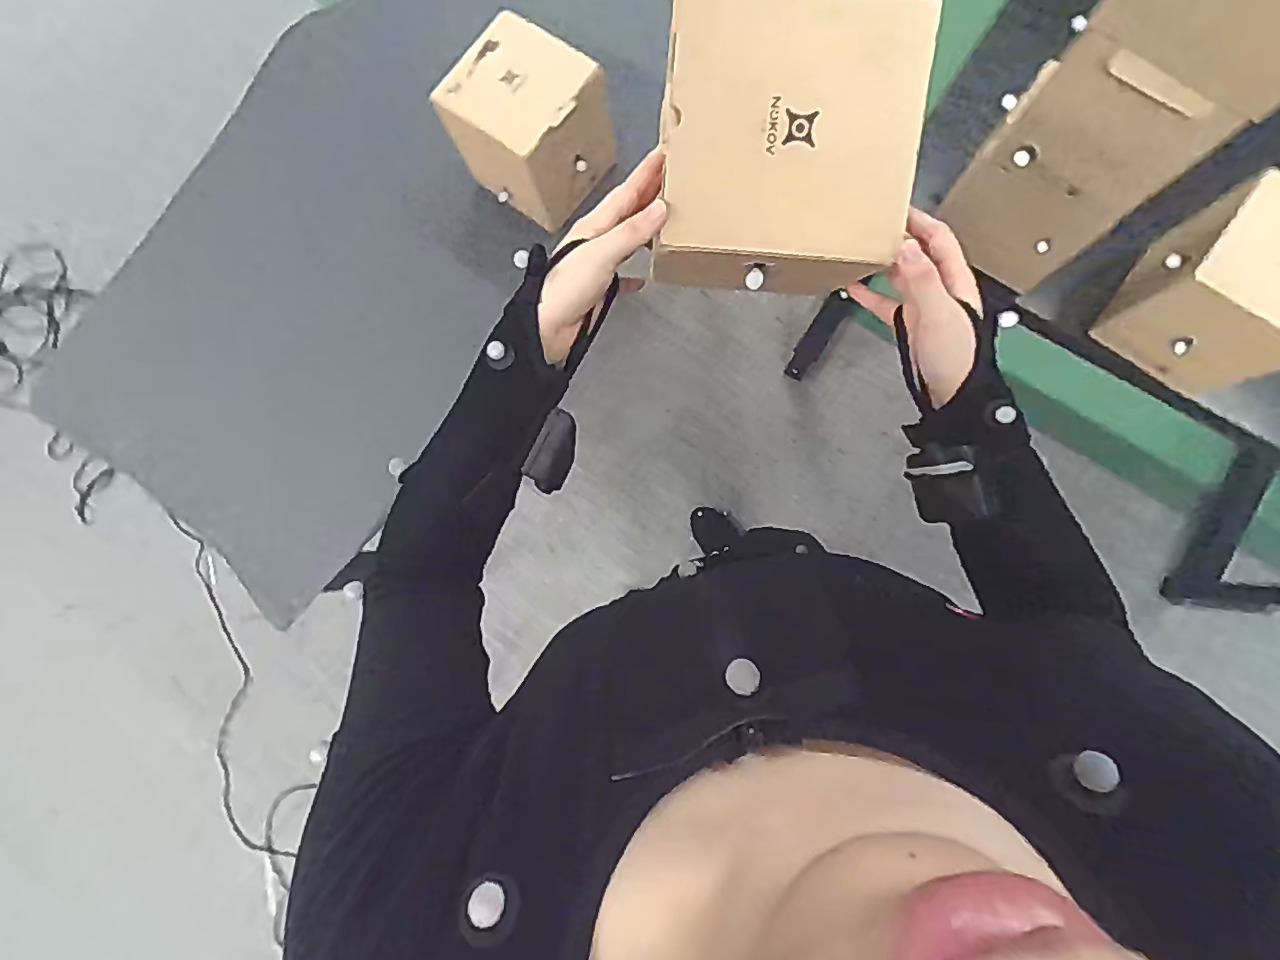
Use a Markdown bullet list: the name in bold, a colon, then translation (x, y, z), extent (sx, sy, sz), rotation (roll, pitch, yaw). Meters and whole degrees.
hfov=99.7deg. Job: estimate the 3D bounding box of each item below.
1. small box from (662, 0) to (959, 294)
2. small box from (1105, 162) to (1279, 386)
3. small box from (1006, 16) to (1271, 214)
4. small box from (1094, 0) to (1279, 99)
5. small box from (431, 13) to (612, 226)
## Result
- **small box**: translation (0.113, -0.251, 0.440), extent (0.179, 0.176, 0.168), rotation (4, 102, 0)
- **small box**: translation (0.766, -0.248, 0.697), extent (0.168, 0.176, 0.179), rotation (37, 86, 8)
- **small box**: translation (0.537, -0.429, 0.573), extent (0.168, 0.176, 0.179), rotation (37, 85, 7)
- **small box**: translation (0.521, -0.443, 0.412), extent (0.179, 0.176, 0.168), rotation (37, 85, 8)
- **small box**: translation (-0.161, -0.515, 0.802), extent (0.179, 0.176, 0.168), rotation (37, 87, 10)
